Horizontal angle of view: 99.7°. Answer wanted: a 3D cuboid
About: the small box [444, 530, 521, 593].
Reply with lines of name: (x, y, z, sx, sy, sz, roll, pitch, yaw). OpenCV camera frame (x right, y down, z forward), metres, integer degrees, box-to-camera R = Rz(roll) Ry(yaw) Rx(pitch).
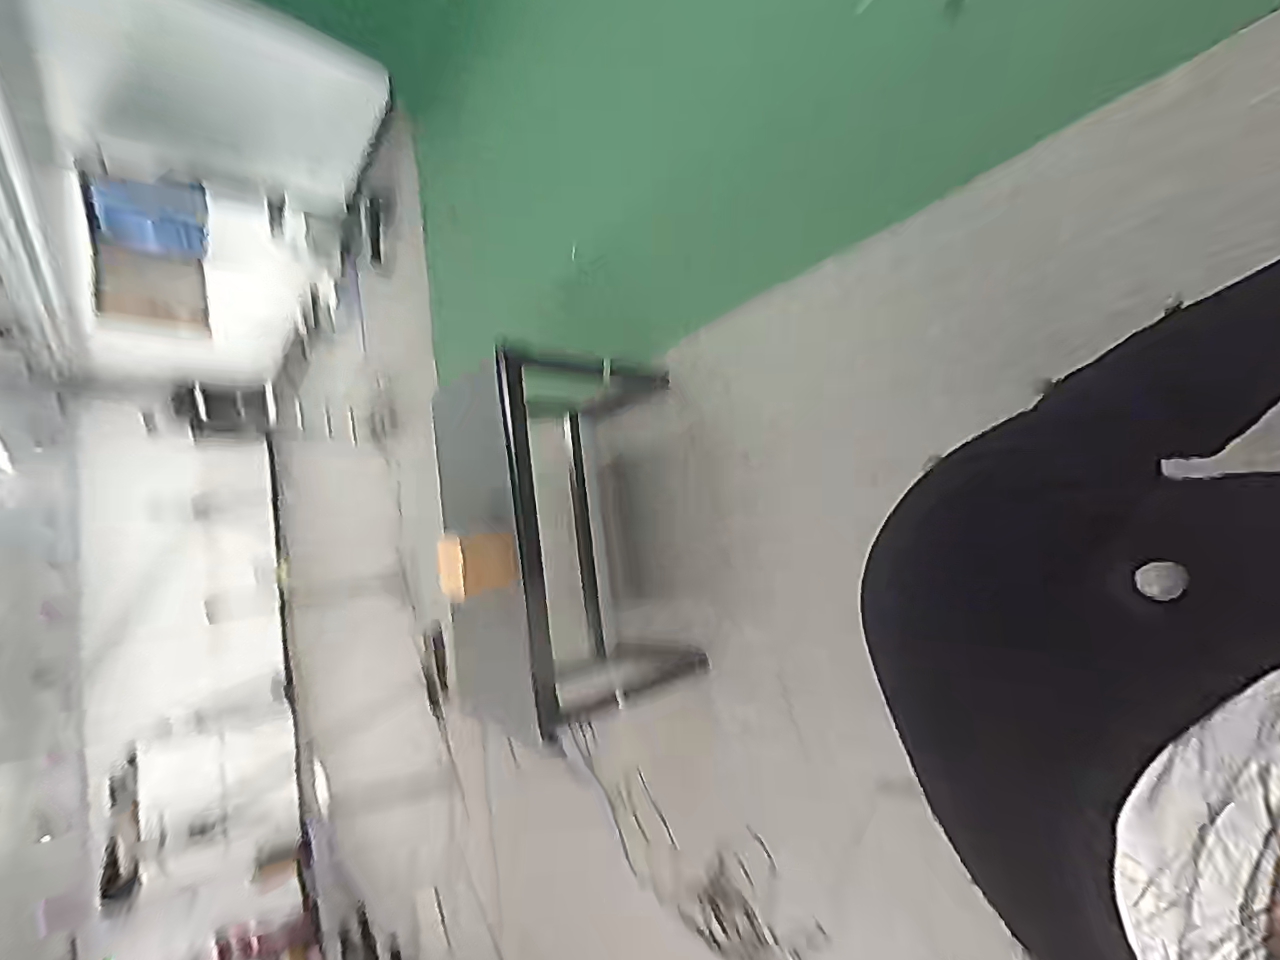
small box: (-0.480, 0.244, 1.645, 0.179, 0.176, 0.168, -8, 86, 49)
